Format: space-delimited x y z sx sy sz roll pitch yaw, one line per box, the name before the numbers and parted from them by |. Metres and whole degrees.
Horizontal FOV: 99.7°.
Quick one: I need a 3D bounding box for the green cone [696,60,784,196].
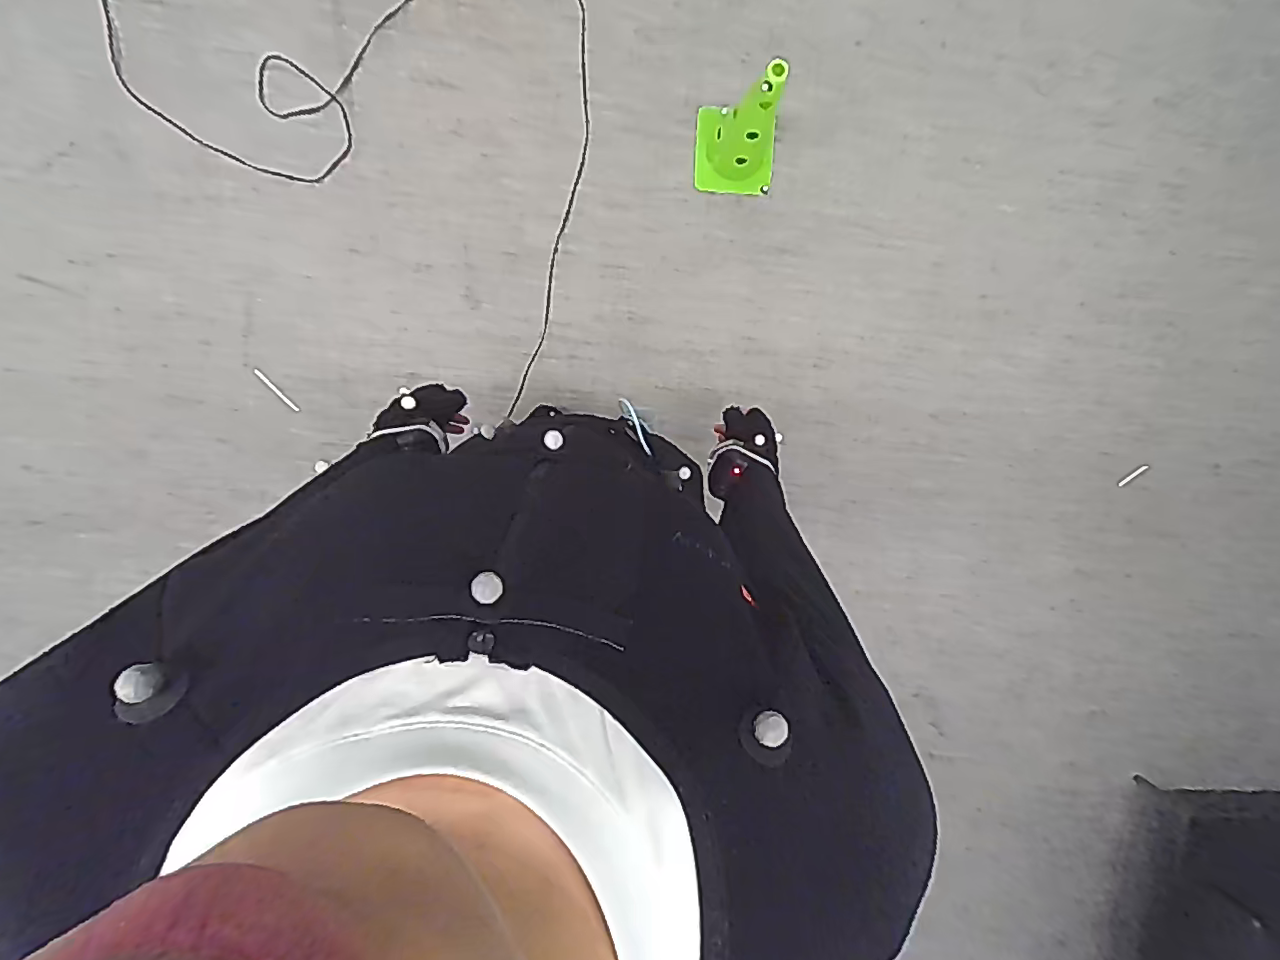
green cone | 0.254 -0.810 1.207 0.202 0.368 0.200 2 98 -3
